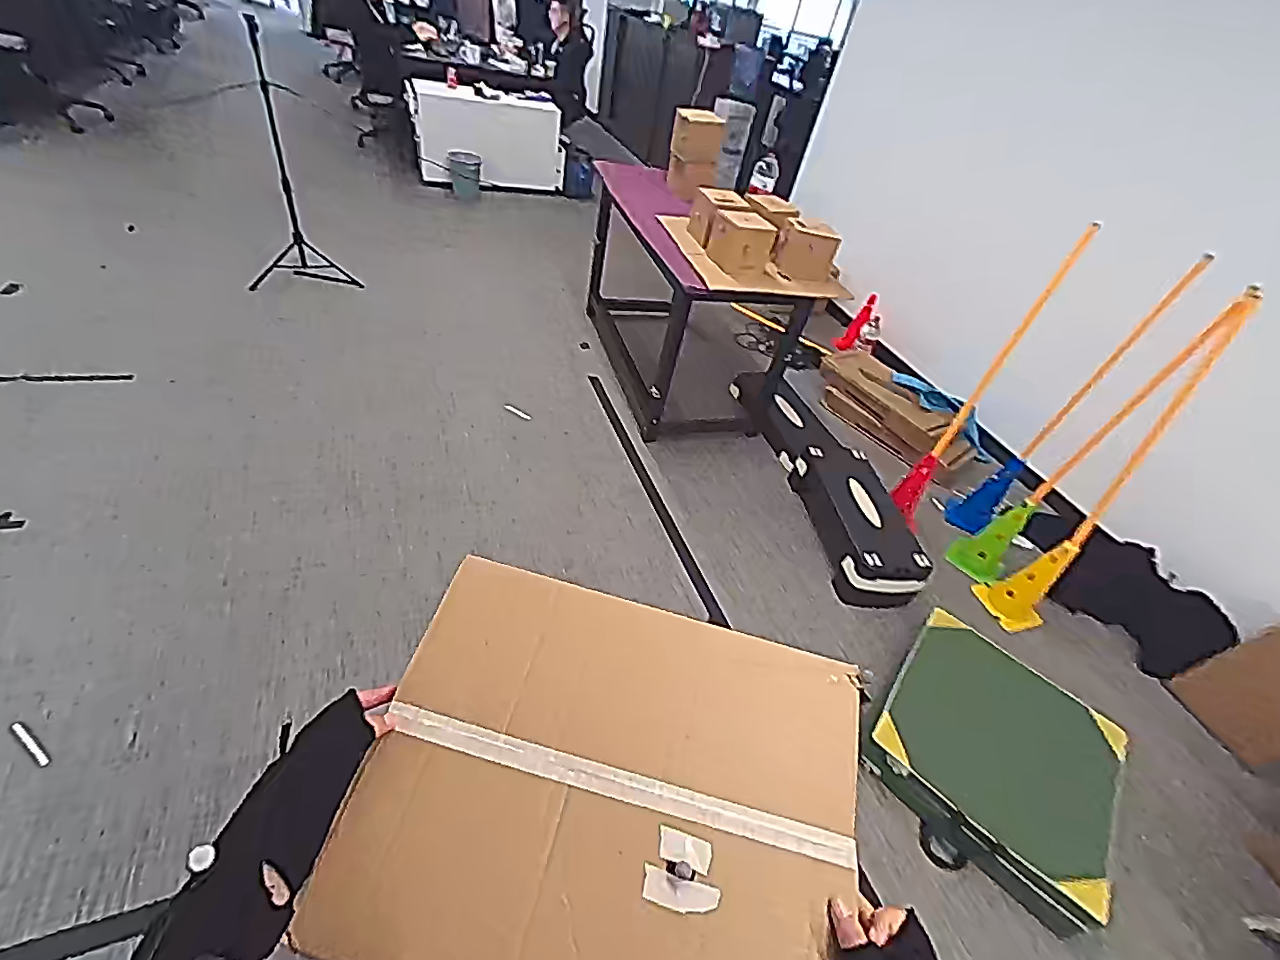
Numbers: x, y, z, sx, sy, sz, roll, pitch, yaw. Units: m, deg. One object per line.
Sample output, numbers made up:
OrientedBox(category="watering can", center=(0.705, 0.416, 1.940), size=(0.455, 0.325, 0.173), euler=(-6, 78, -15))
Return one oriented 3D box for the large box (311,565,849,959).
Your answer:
OrientedBox(category="large box", center=(-0.034, 0.339, 0.590), size=(0.408, 0.320, 0.320), euler=(16, 56, 3))
